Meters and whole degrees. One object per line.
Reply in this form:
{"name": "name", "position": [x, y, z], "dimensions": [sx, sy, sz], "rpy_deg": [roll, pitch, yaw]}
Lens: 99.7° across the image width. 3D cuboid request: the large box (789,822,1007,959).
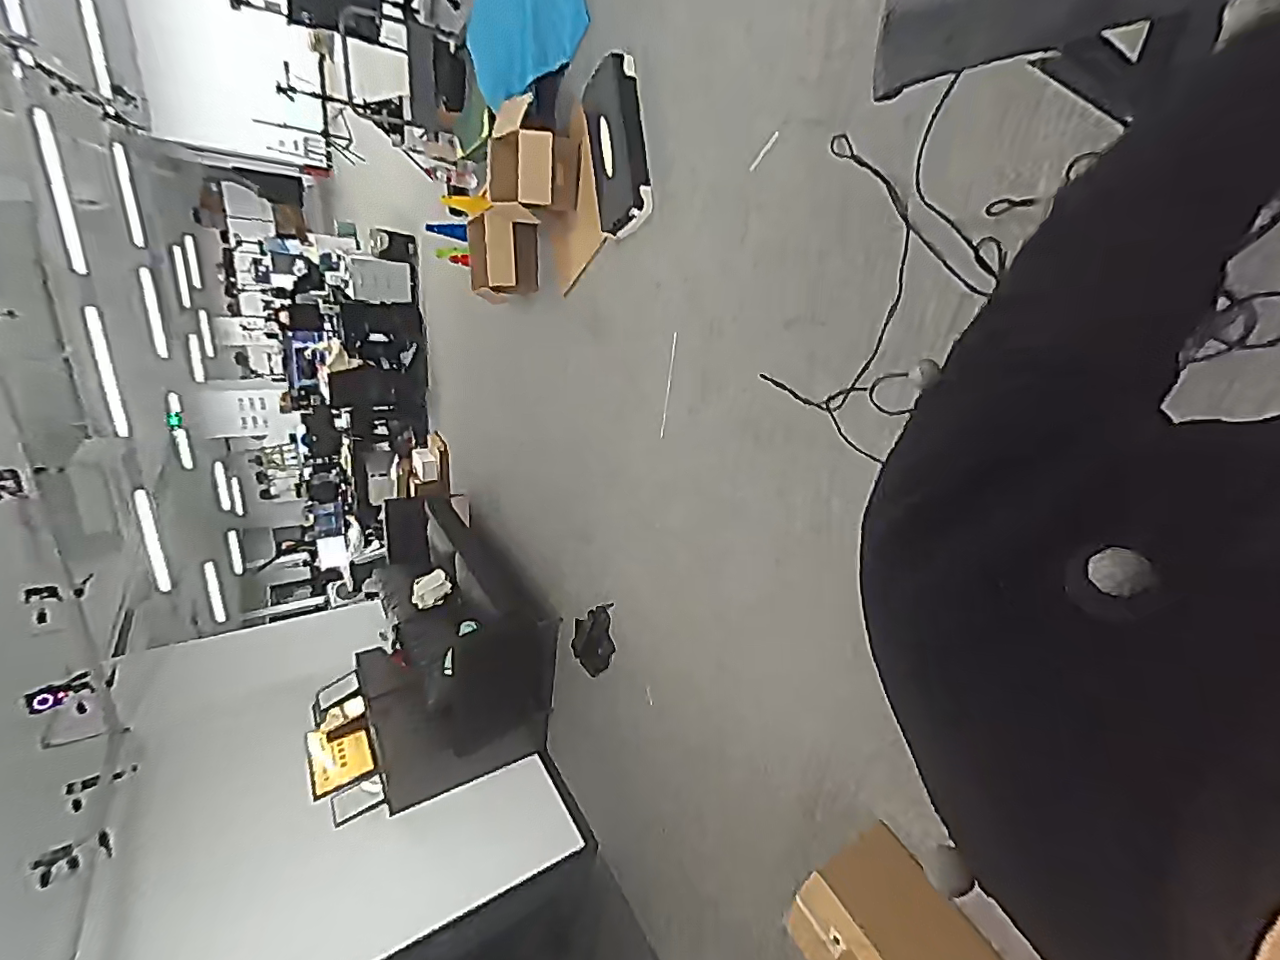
{"name": "large box", "position": [0.708, 1.293, 1.523], "dimensions": [0.408, 0.320, 0.320], "rpy_deg": [45, 132, 45]}
